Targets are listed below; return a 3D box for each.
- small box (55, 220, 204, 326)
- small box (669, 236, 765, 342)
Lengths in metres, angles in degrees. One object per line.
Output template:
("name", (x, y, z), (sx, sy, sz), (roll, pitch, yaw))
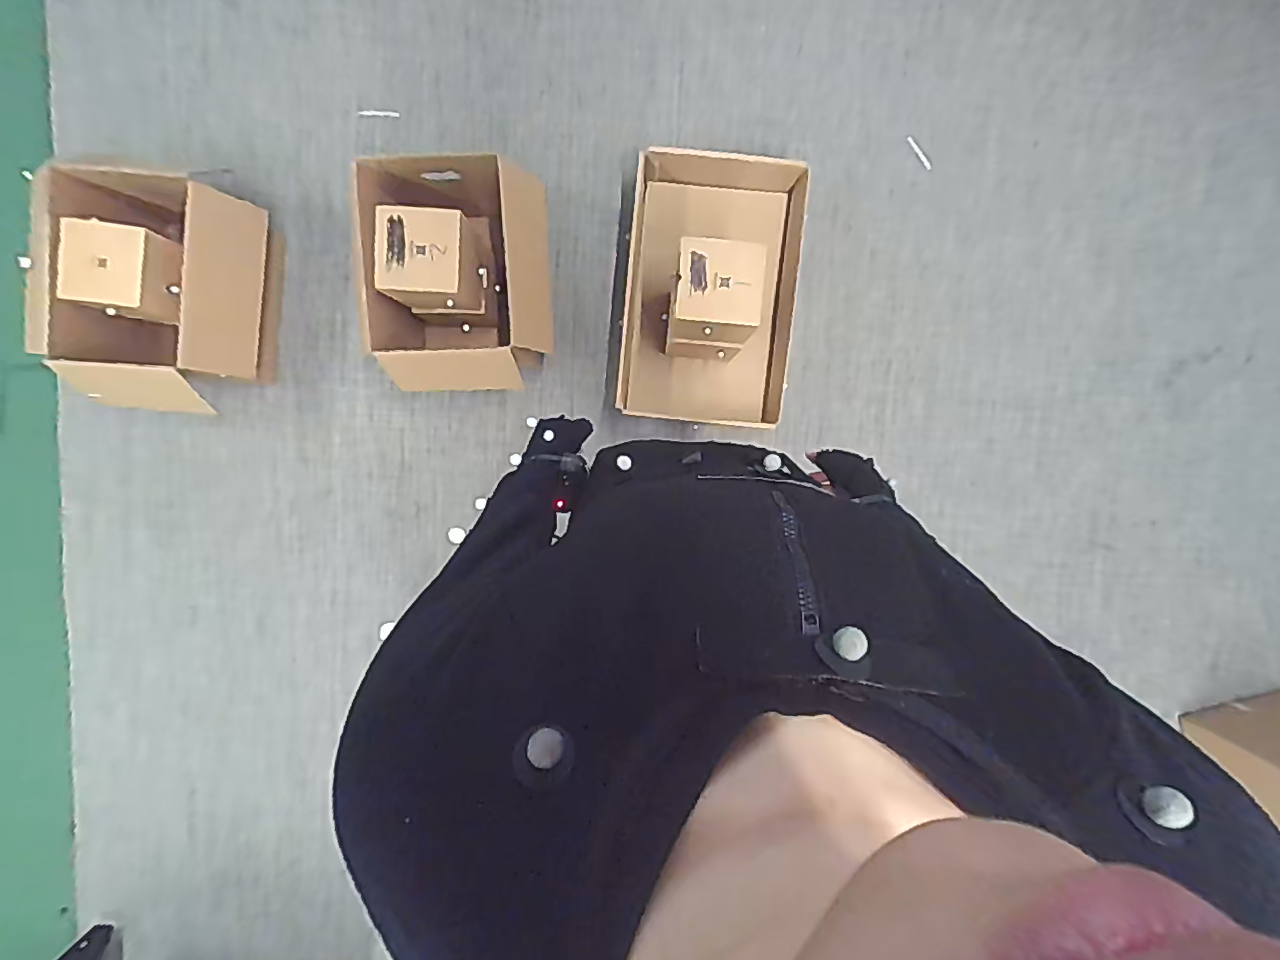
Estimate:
("small box", (-1.112, -0.445, 1.190), (0.179, 0.176, 0.168), (7, 93, -1))
("small box", (0.156, -0.400, 1.154), (0.179, 0.176, 0.168), (4, 92, -1))
